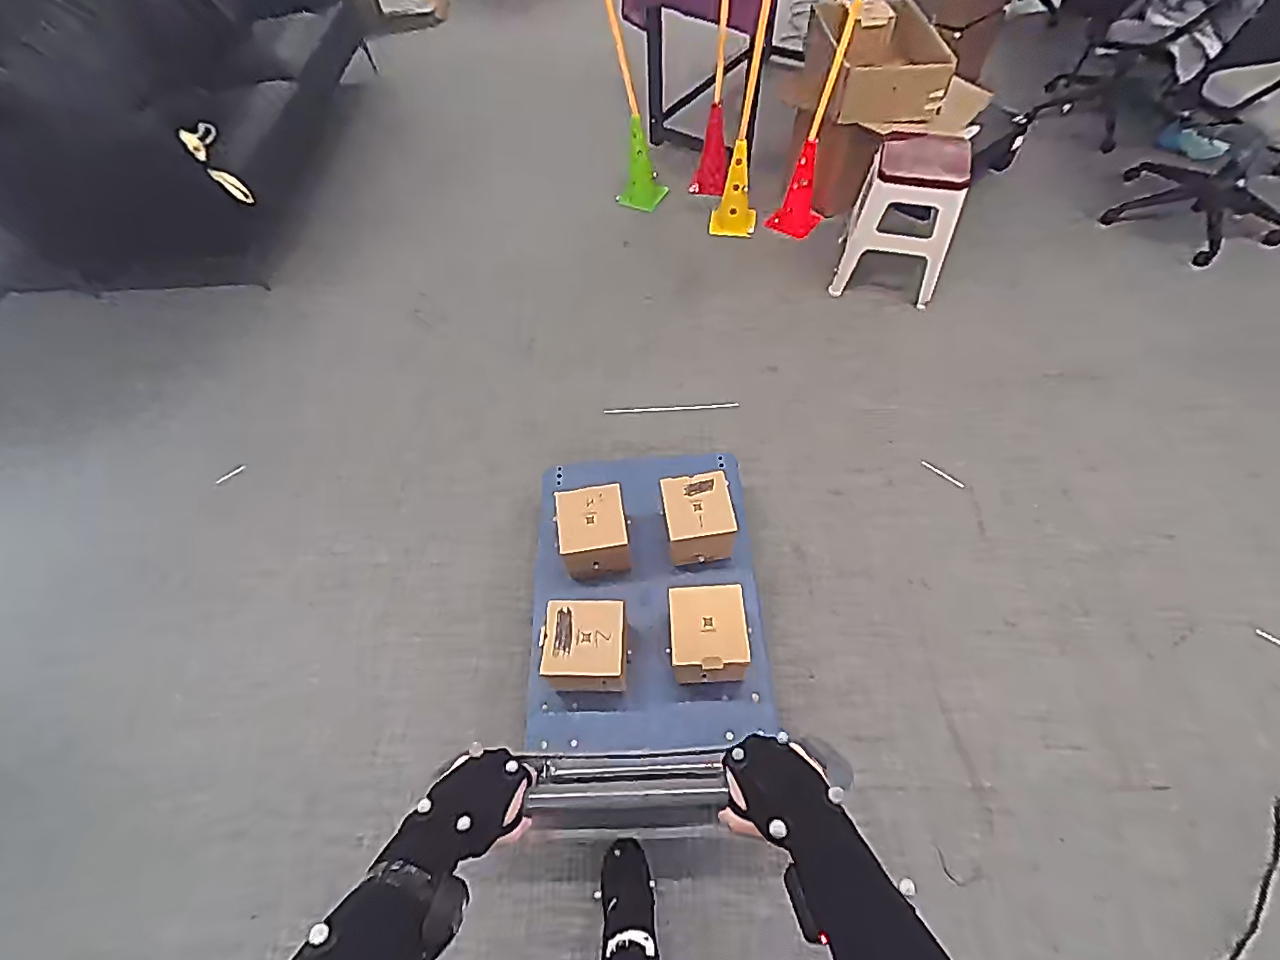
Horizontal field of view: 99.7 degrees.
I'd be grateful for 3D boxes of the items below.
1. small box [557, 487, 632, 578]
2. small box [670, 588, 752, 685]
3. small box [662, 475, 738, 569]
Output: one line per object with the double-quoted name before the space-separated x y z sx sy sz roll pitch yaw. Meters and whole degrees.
"small box" -0.116 0.143 1.401 0.168 0.176 0.179 -8 58 -2
"small box" 0.156 0.363 1.248 0.168 0.176 0.179 -4 59 2
"small box" 0.149 0.111 1.403 0.168 0.176 0.179 -8 59 0
